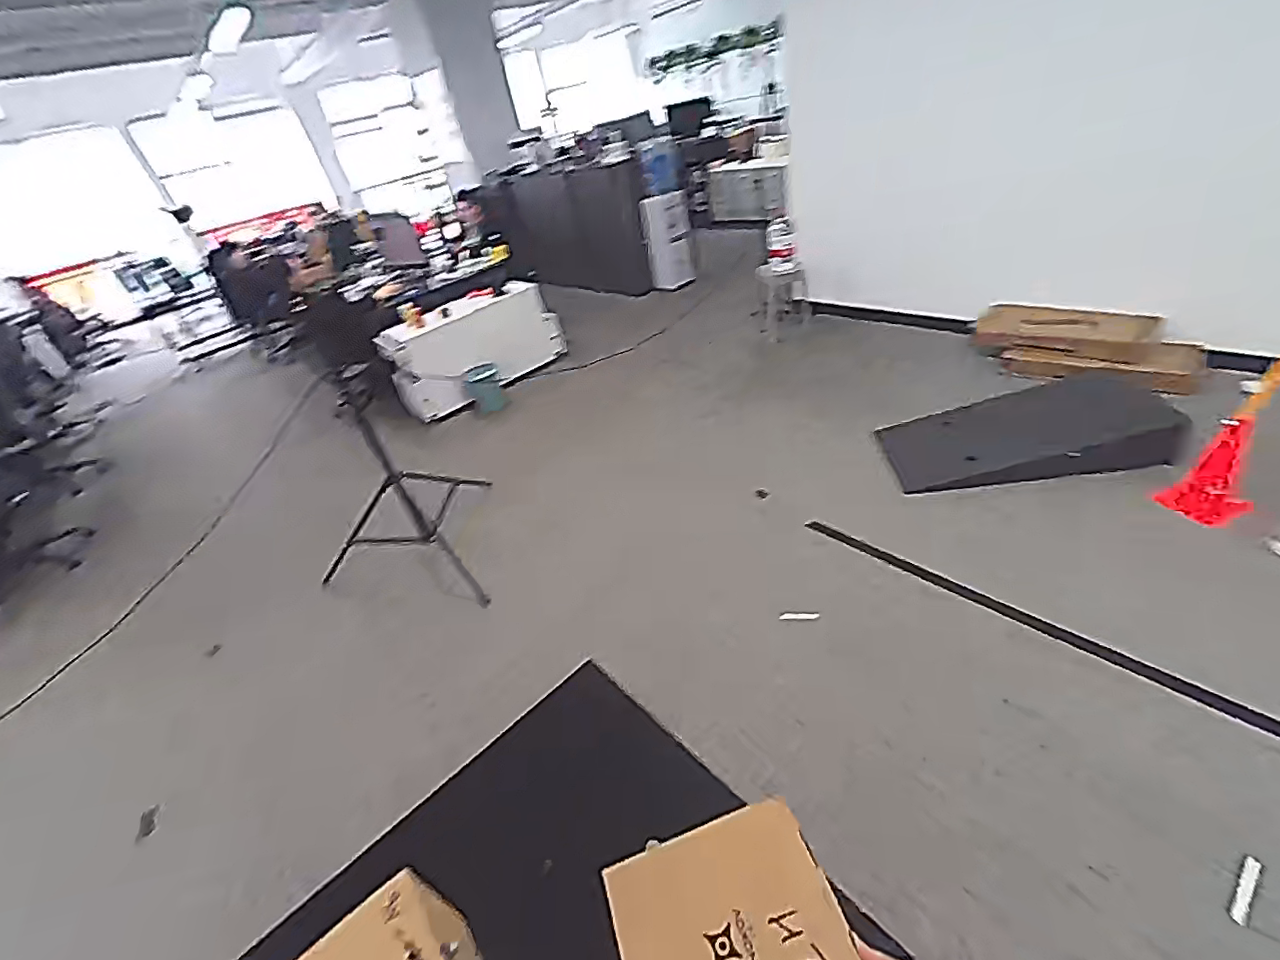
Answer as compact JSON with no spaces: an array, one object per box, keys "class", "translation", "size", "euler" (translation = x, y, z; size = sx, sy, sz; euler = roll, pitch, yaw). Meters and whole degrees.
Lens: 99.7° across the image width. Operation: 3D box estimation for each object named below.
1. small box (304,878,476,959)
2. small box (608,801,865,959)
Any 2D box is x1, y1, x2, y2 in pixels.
[{"class":"small box","translation":[-0.265,0.579,0.560],"size":[0.179,0.176,0.168],"euler":[-35,40,-26]},{"class":"small box","translation":[0.089,0.418,0.462],"size":[0.179,0.176,0.168],"euler":[-18,41,-6]}]
